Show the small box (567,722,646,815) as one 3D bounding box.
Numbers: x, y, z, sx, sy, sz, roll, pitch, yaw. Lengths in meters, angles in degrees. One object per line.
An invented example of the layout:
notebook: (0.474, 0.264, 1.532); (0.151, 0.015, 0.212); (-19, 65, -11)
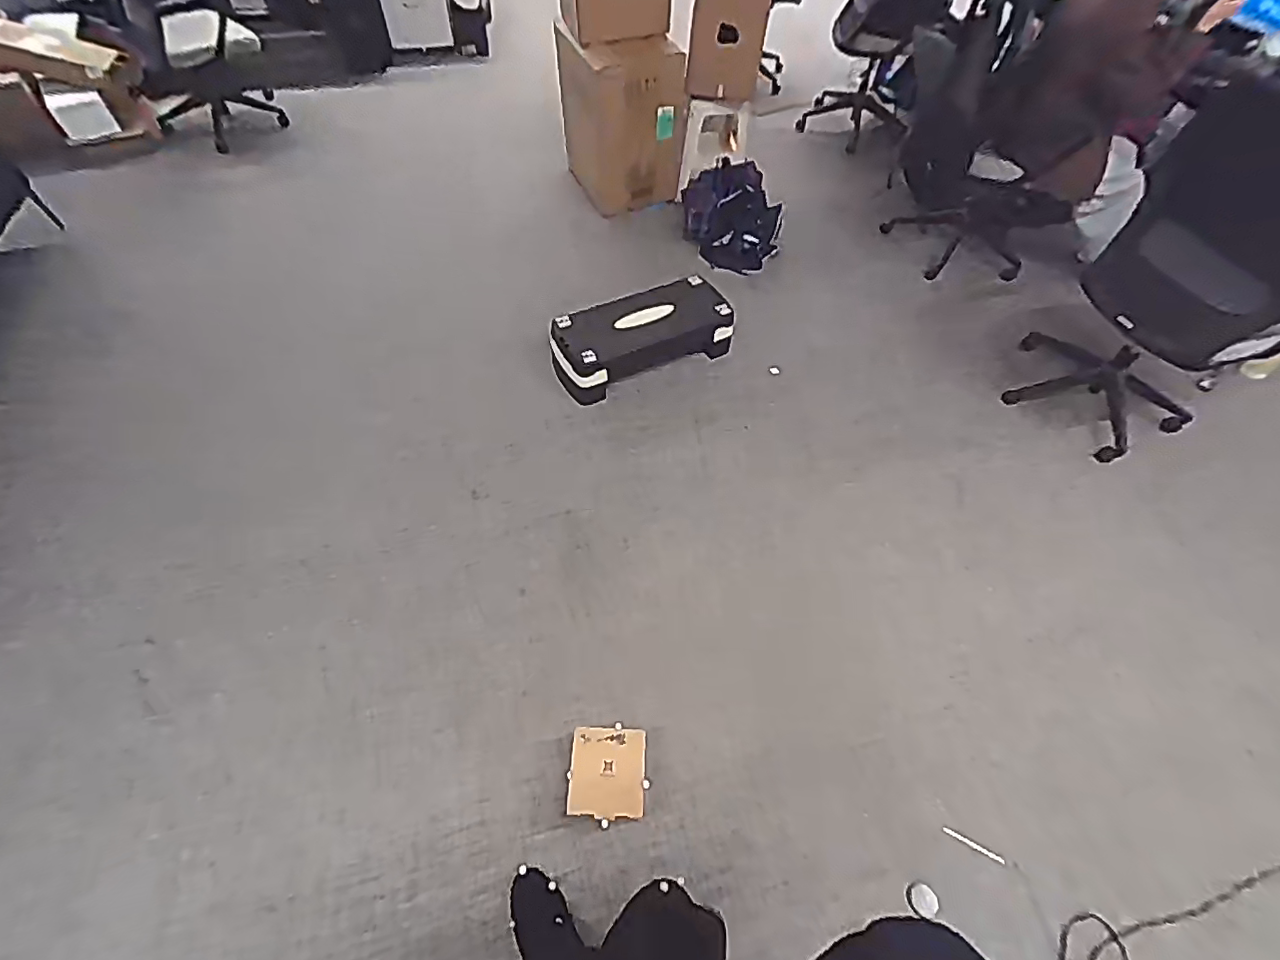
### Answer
small box: (-0.071, 0.672, 1.255); (0.168, 0.176, 0.179); (2, 57, 0)
